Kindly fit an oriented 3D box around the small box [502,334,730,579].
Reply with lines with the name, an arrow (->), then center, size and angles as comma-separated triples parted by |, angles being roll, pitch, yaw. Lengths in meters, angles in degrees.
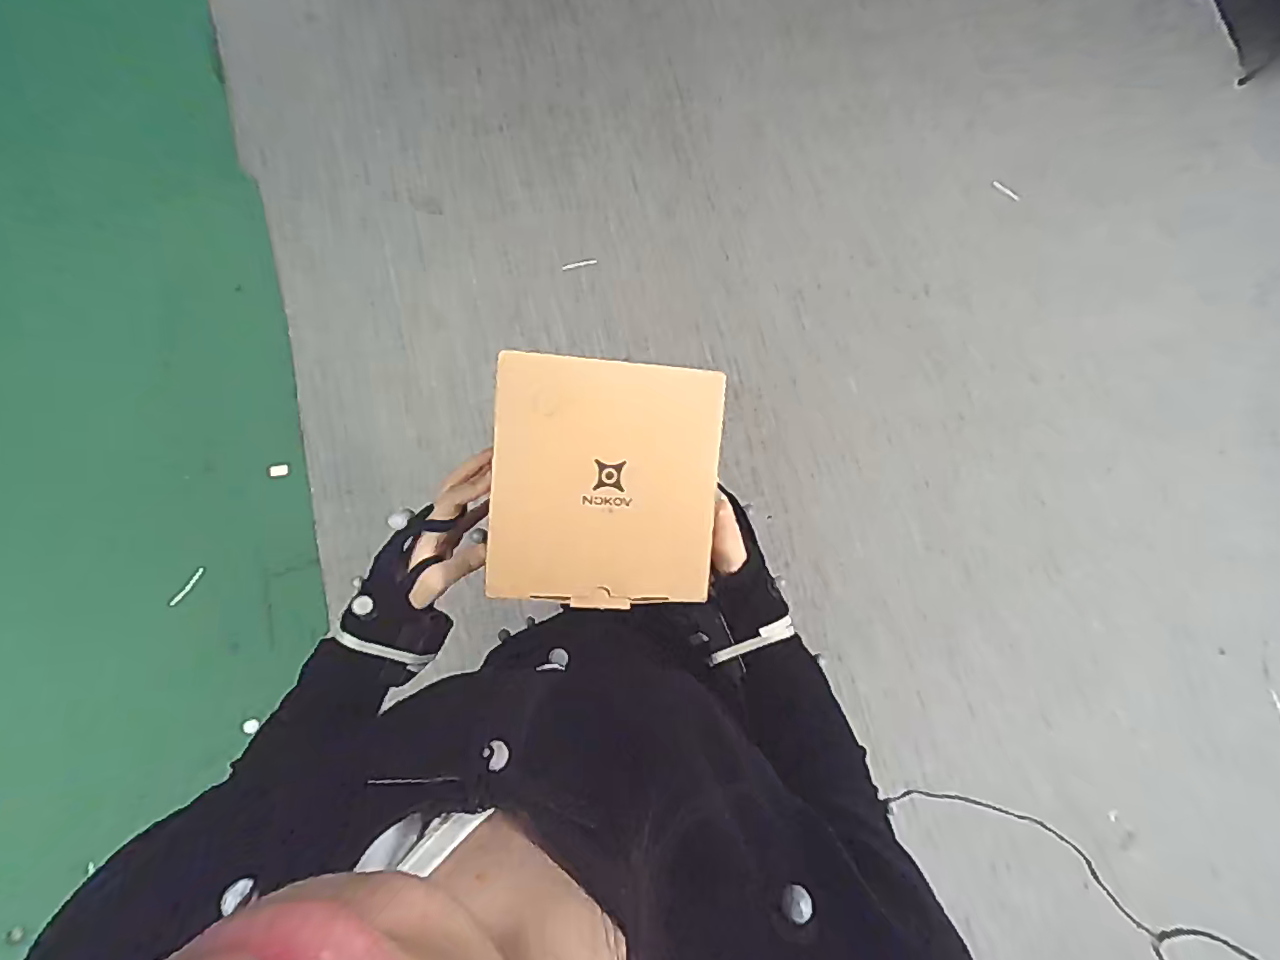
small box -> -0.033, -0.019, 0.477 | 0.168, 0.176, 0.179 | 2, 95, -13
